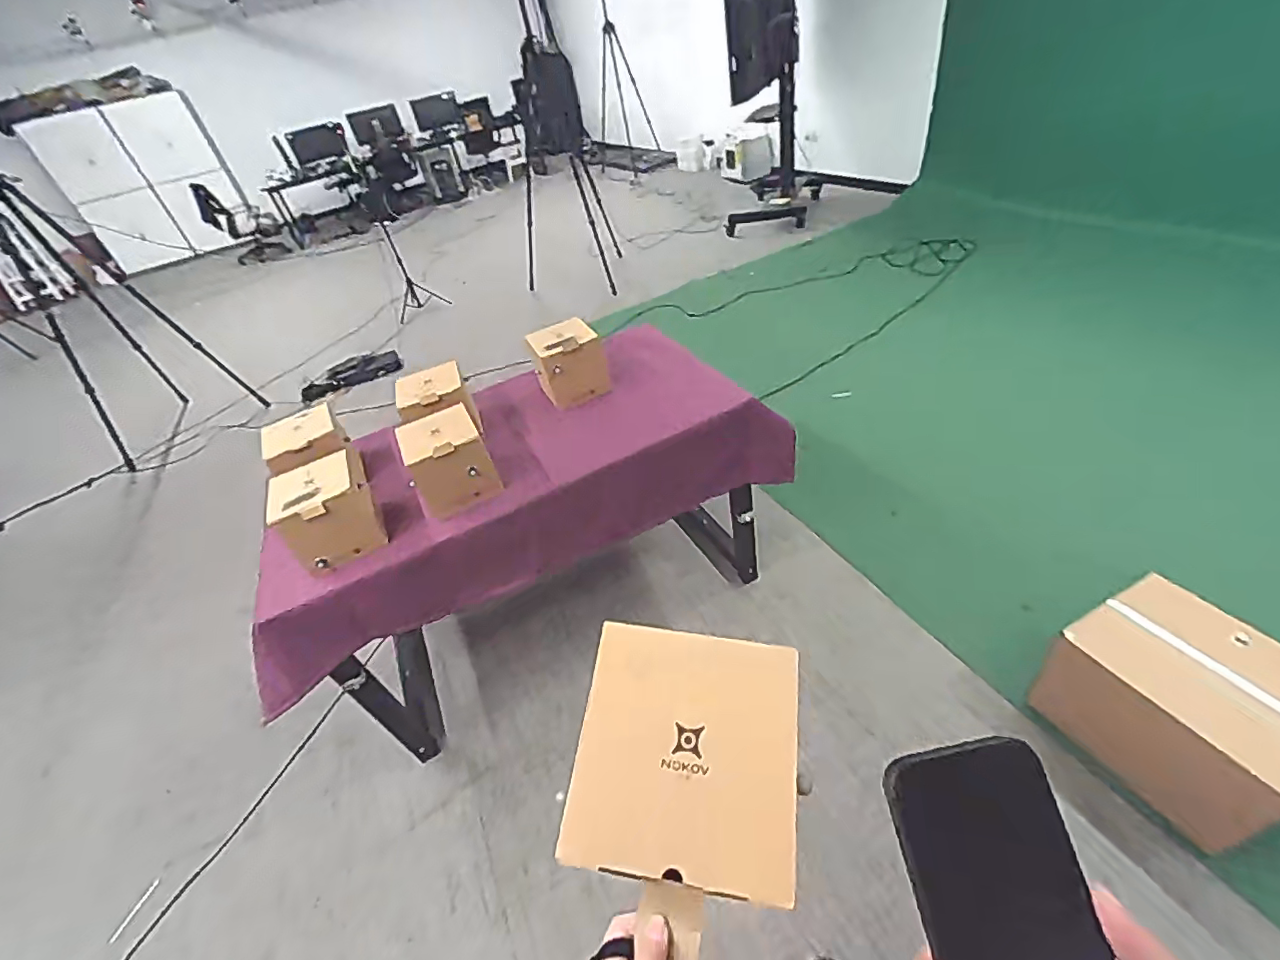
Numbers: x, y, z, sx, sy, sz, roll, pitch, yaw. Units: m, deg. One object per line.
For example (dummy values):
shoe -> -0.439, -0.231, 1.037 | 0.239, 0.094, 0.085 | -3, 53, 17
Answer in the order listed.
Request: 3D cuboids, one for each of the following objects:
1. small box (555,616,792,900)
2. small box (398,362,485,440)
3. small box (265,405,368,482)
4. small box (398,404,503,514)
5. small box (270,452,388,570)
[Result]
small box -> 0.036, 0.242, 0.485 | 0.168, 0.176, 0.179 | 6, 59, 8
small box -> -0.529, -0.186, 1.447 | 0.168, 0.176, 0.179 | -21, 41, -8
small box -> -0.823, -0.059, 1.383 | 0.168, 0.176, 0.179 | -28, 43, -17
small box -> -0.436, -0.043, 1.256 | 0.168, 0.176, 0.179 | -25, 40, -14
small box -> -0.675, 0.073, 1.186 | 0.168, 0.176, 0.179 | -26, 40, -15
